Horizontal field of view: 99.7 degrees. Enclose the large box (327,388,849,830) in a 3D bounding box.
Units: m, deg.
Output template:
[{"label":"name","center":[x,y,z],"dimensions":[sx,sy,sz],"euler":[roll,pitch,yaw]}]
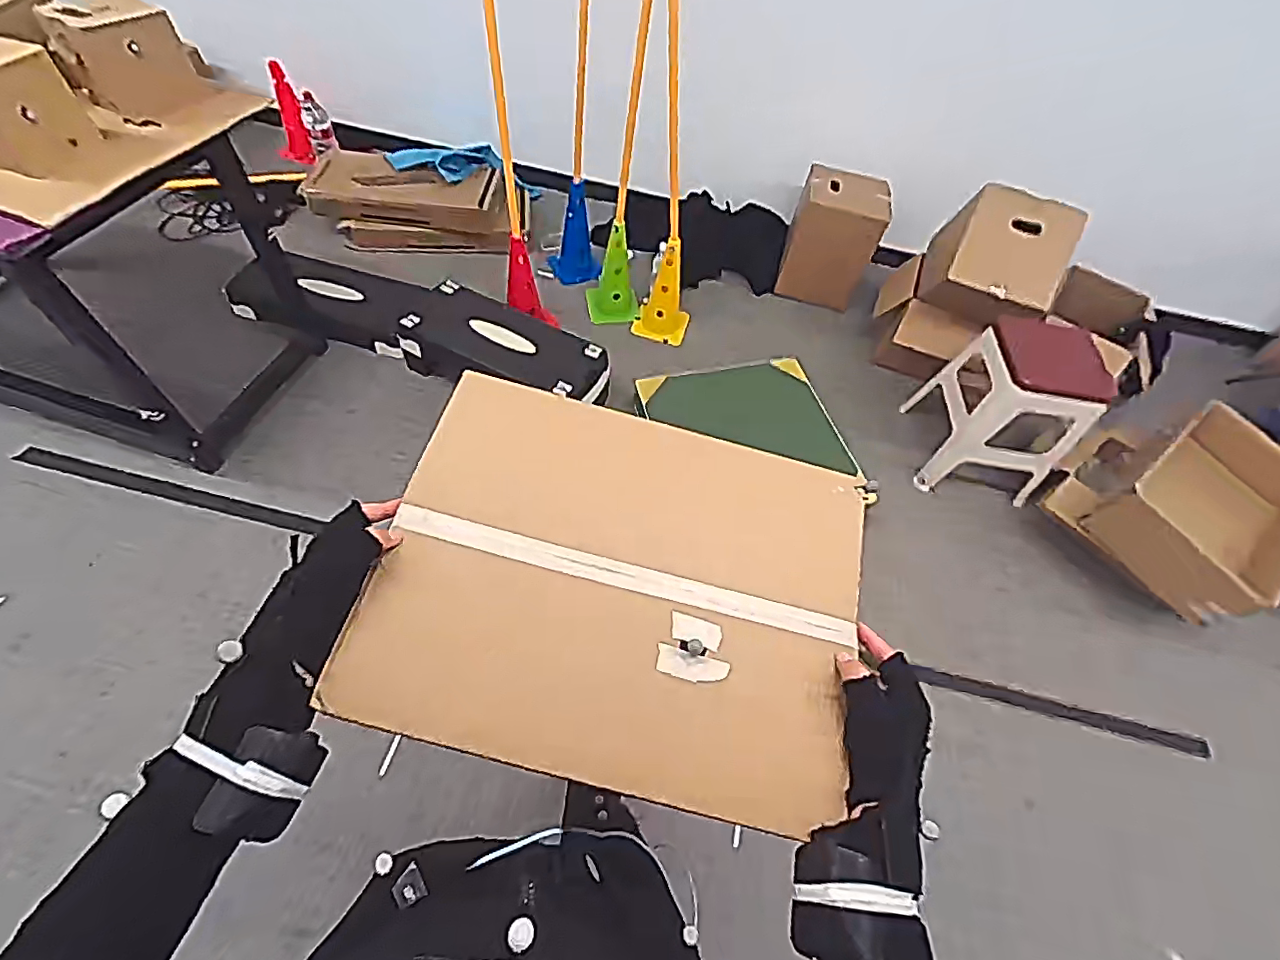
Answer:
[{"label":"large box","center":[-0.034,0.151,0.606],"dimensions":[0.408,0.320,0.320],"euler":[15,65,-2]}]
